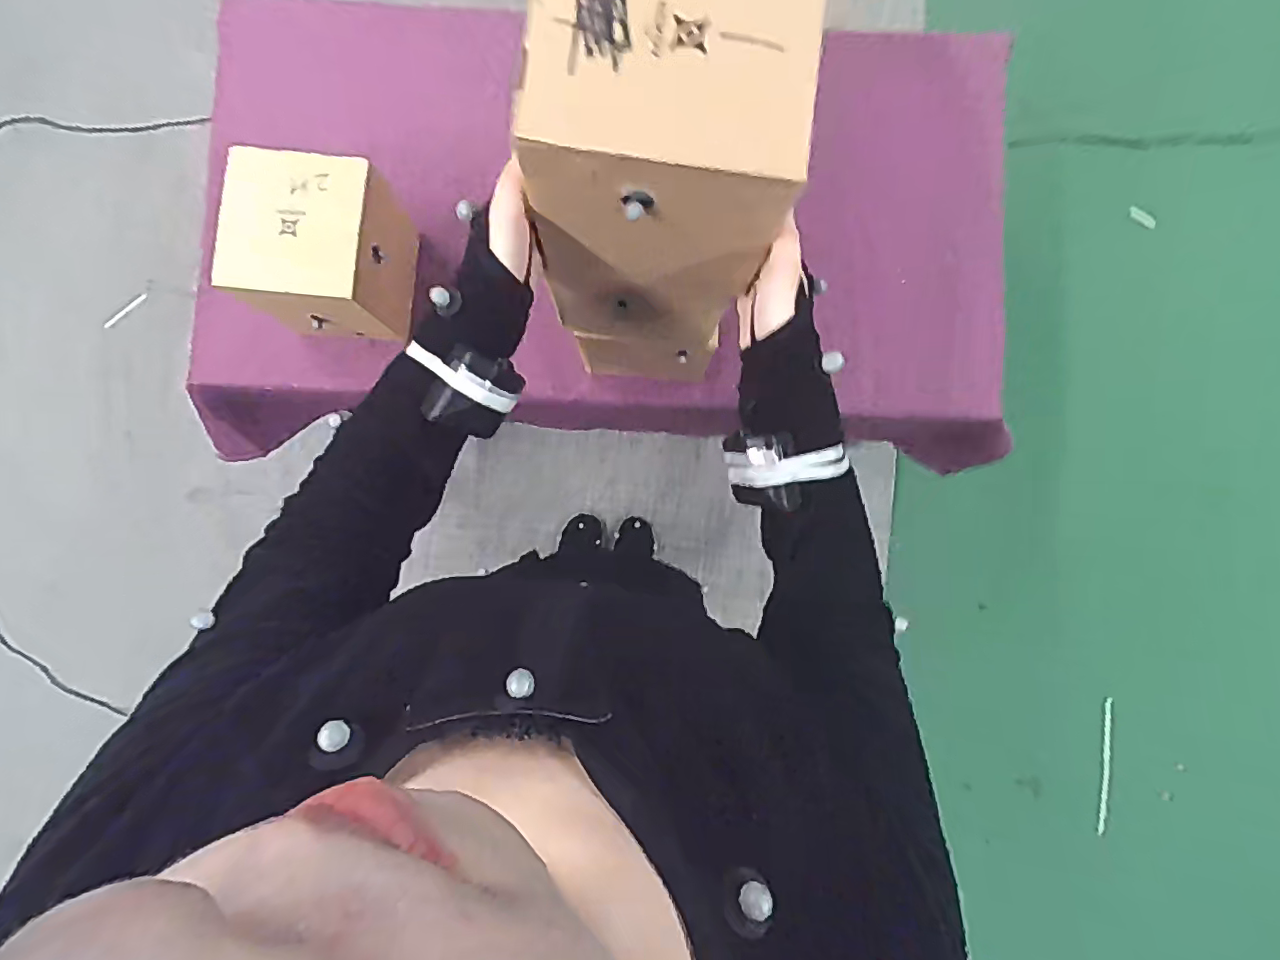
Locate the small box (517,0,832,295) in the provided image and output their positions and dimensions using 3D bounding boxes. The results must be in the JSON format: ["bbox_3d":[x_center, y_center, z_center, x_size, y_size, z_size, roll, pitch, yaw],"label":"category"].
[{"bbox_3d":[0.022,-0.254,0.400,0.179,0.176,0.168,8,86,-2],"label":"small box"}]

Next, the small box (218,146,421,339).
[{"bbox_3d":[-0.409,-0.301,0.720,0.168,0.176,0.179,6,87,-2],"label":"small box"}]

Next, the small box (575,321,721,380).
[{"bbox_3d":[0.014,-0.237,0.728,0.179,0.176,0.168,4,87,-1],"label":"small box"}]

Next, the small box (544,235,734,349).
[{"bbox_3d":[0.010,-0.248,0.564,0.179,0.176,0.168,8,87,0],"label":"small box"}]
